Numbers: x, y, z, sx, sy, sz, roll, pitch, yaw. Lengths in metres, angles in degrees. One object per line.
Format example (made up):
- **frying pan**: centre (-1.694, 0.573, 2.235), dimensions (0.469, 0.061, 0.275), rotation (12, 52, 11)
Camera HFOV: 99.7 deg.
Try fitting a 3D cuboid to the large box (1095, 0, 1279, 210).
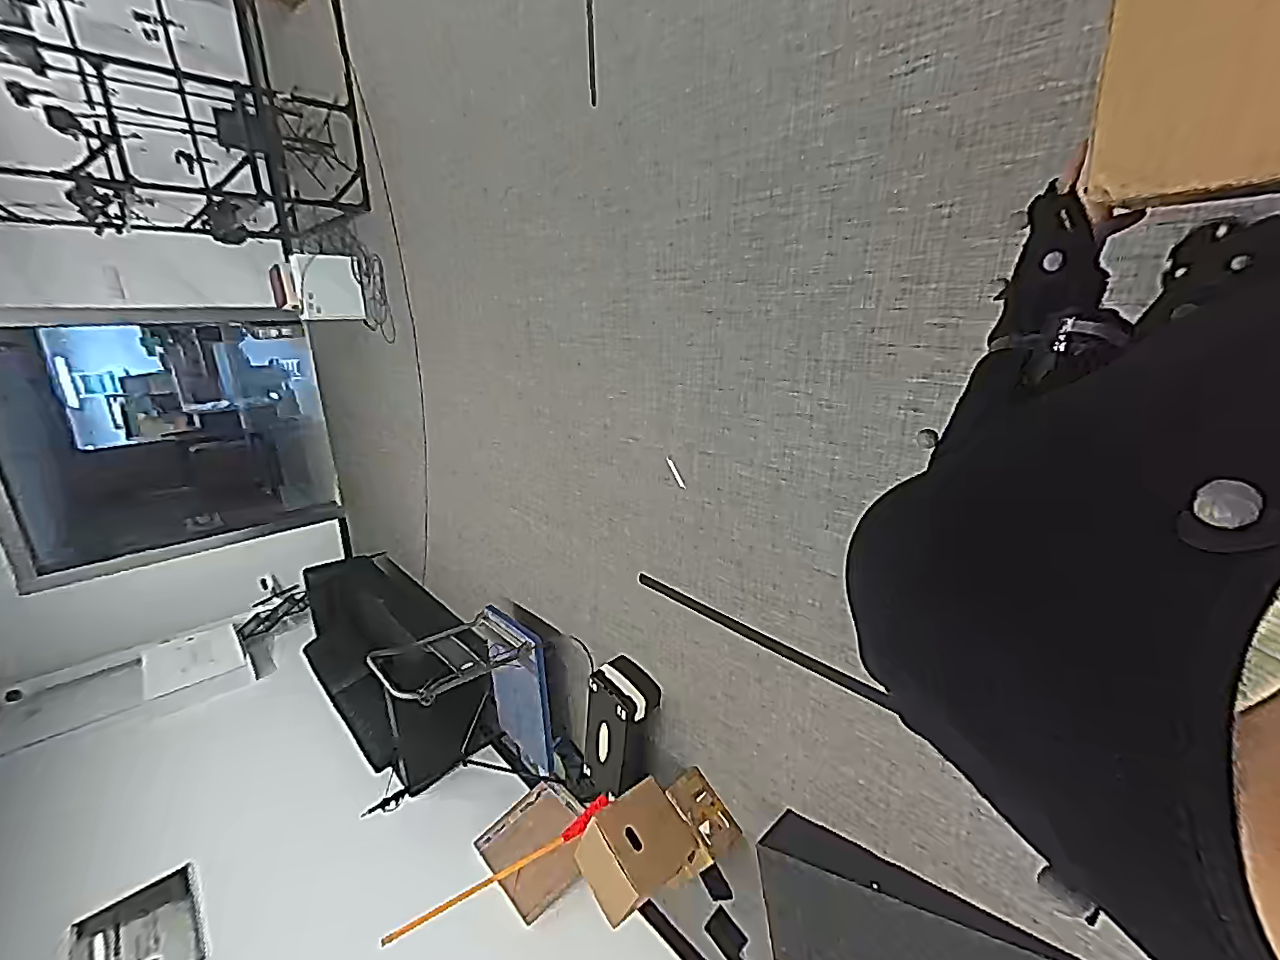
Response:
- **large box**: centre (0.445, -0.301, 0.188), dimensions (0.408, 0.320, 0.320), rotation (11, 117, 40)
